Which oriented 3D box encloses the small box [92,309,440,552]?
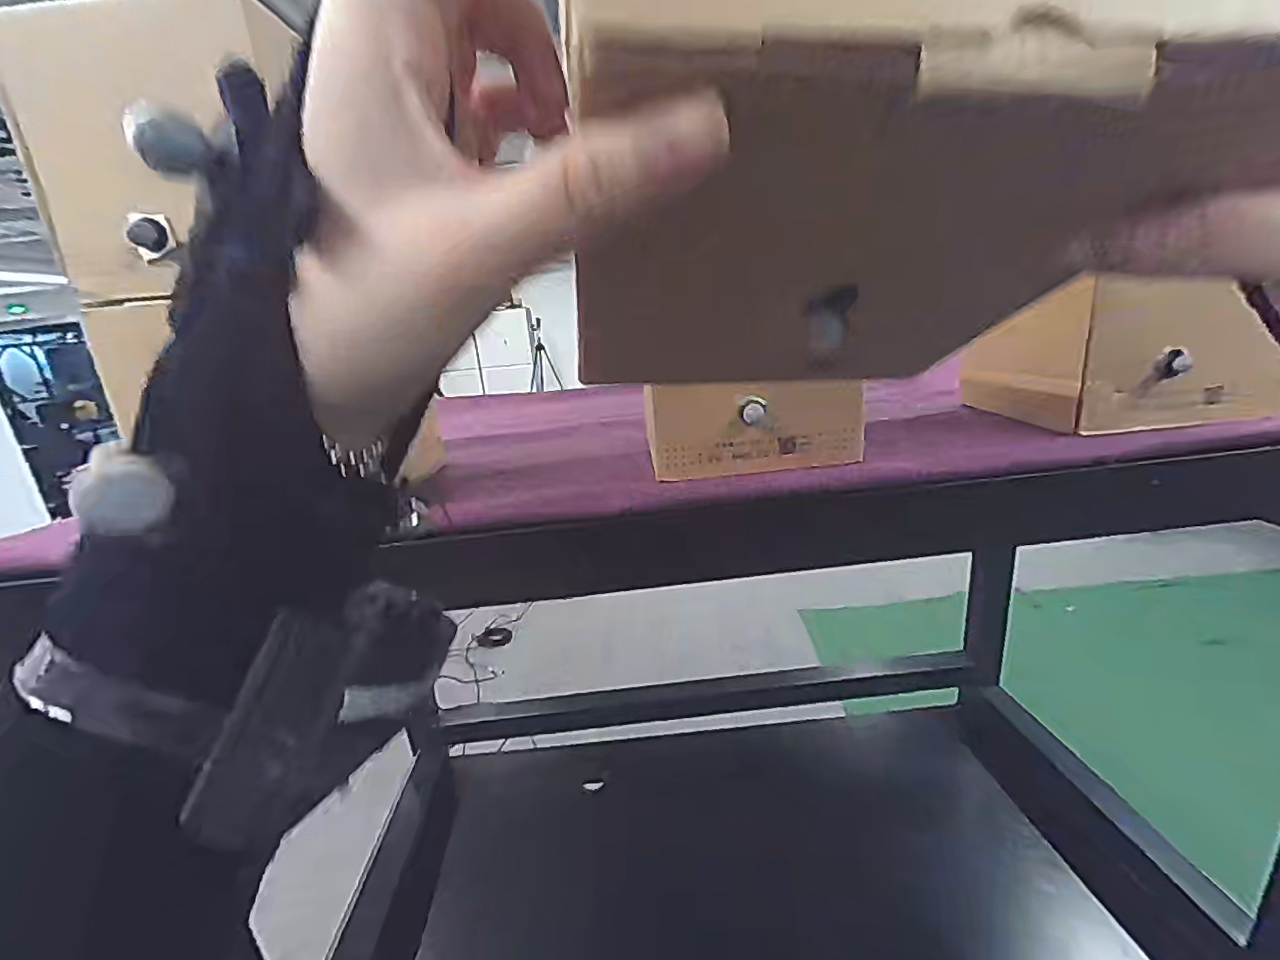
[{"bbox_3d":[-0.288,-0.051,0.467,0.168,0.176,0.179,-6,16,0],"label":"small box"}]

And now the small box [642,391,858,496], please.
[{"bbox_3d":[0.083,-0.094,0.488,0.168,0.176,0.179,-6,19,0],"label":"small box"}]

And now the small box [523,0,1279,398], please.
[{"bbox_3d":[0.050,-0.133,0.197,0.168,0.179,0.176,-3,-9,-6],"label":"small box"}]

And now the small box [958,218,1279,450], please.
[{"bbox_3d":[0.420,-0.131,0.495,0.168,0.176,0.179,-6,19,2],"label":"small box"}]
